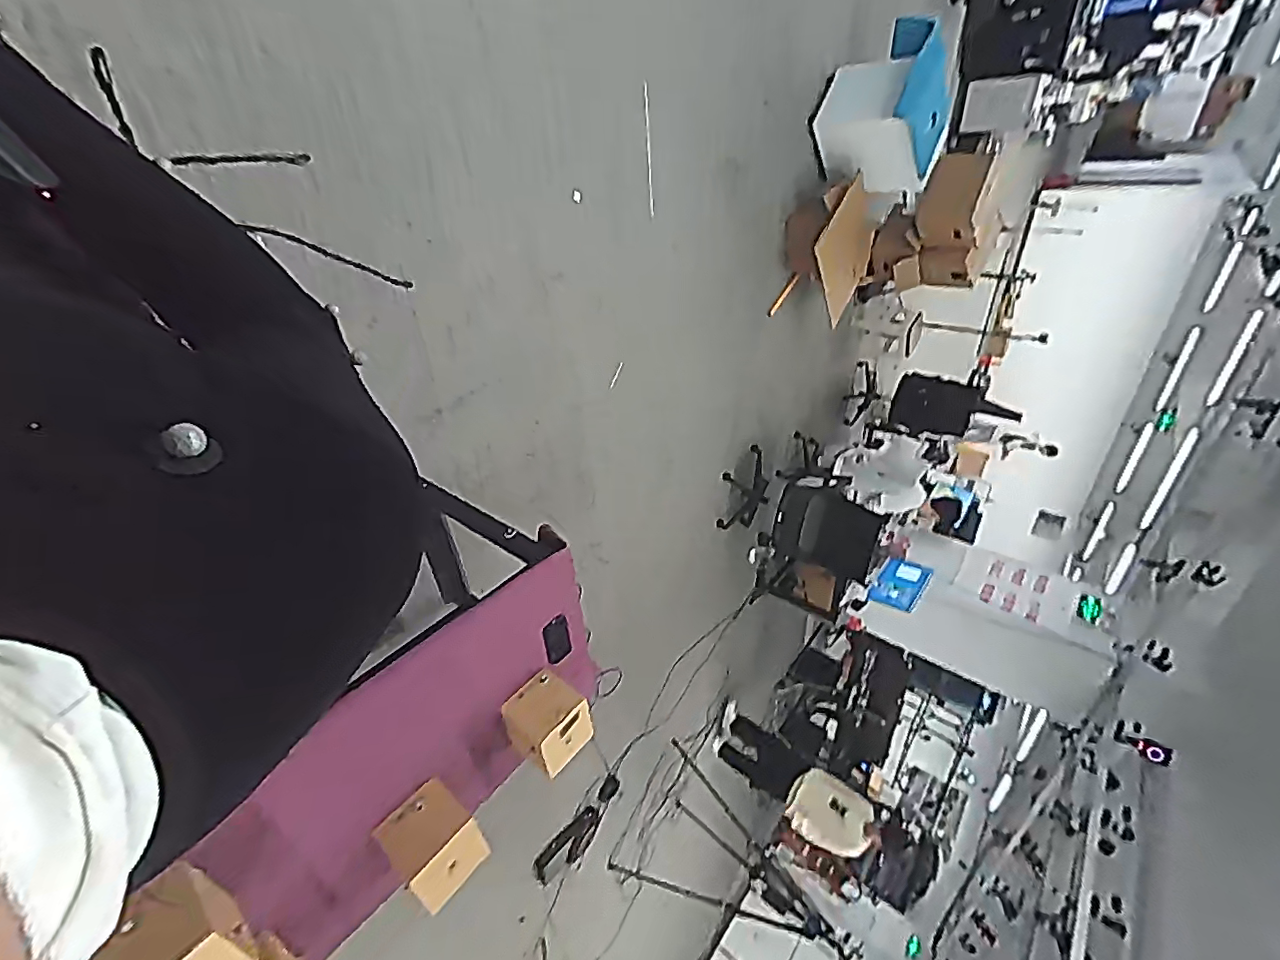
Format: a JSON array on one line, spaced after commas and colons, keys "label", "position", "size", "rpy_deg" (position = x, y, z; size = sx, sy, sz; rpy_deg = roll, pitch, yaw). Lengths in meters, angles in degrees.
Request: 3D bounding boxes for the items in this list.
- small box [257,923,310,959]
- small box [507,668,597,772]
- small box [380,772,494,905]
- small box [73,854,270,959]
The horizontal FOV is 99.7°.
[{"label": "small box", "position": [-0.729, 1.014, 1.041], "size": [0.168, 0.176, 0.179], "rpy_deg": [-35, 134, -39]}, {"label": "small box", "position": [-0.241, 0.645, 1.482], "size": [0.168, 0.176, 0.179], "rpy_deg": [-36, 134, -37]}, {"label": "small box", "position": [-0.477, 0.837, 1.278], "size": [0.168, 0.176, 0.179], "rpy_deg": [-37, 134, -37]}, {"label": "small box", "position": [-0.747, 0.756, 0.870], "size": [0.168, 0.176, 0.179], "rpy_deg": [-37, 135, -38]}]
